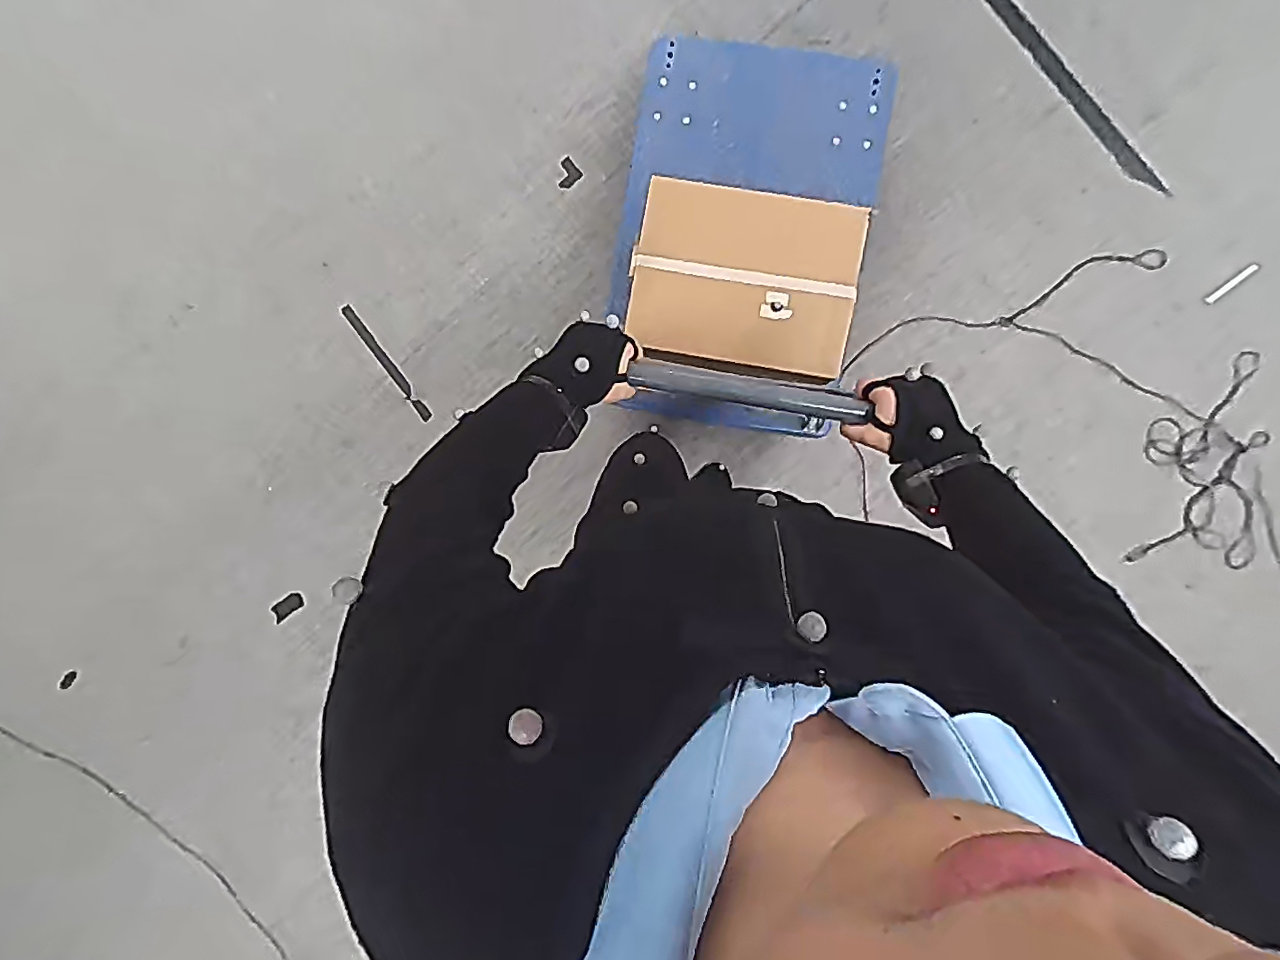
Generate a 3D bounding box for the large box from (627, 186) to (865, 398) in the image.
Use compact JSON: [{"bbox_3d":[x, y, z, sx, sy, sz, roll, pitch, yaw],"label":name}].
[{"bbox_3d":[0.198,-0.369,1.146,0.408,0.320,0.320,10,93,2],"label":"large box"}]
